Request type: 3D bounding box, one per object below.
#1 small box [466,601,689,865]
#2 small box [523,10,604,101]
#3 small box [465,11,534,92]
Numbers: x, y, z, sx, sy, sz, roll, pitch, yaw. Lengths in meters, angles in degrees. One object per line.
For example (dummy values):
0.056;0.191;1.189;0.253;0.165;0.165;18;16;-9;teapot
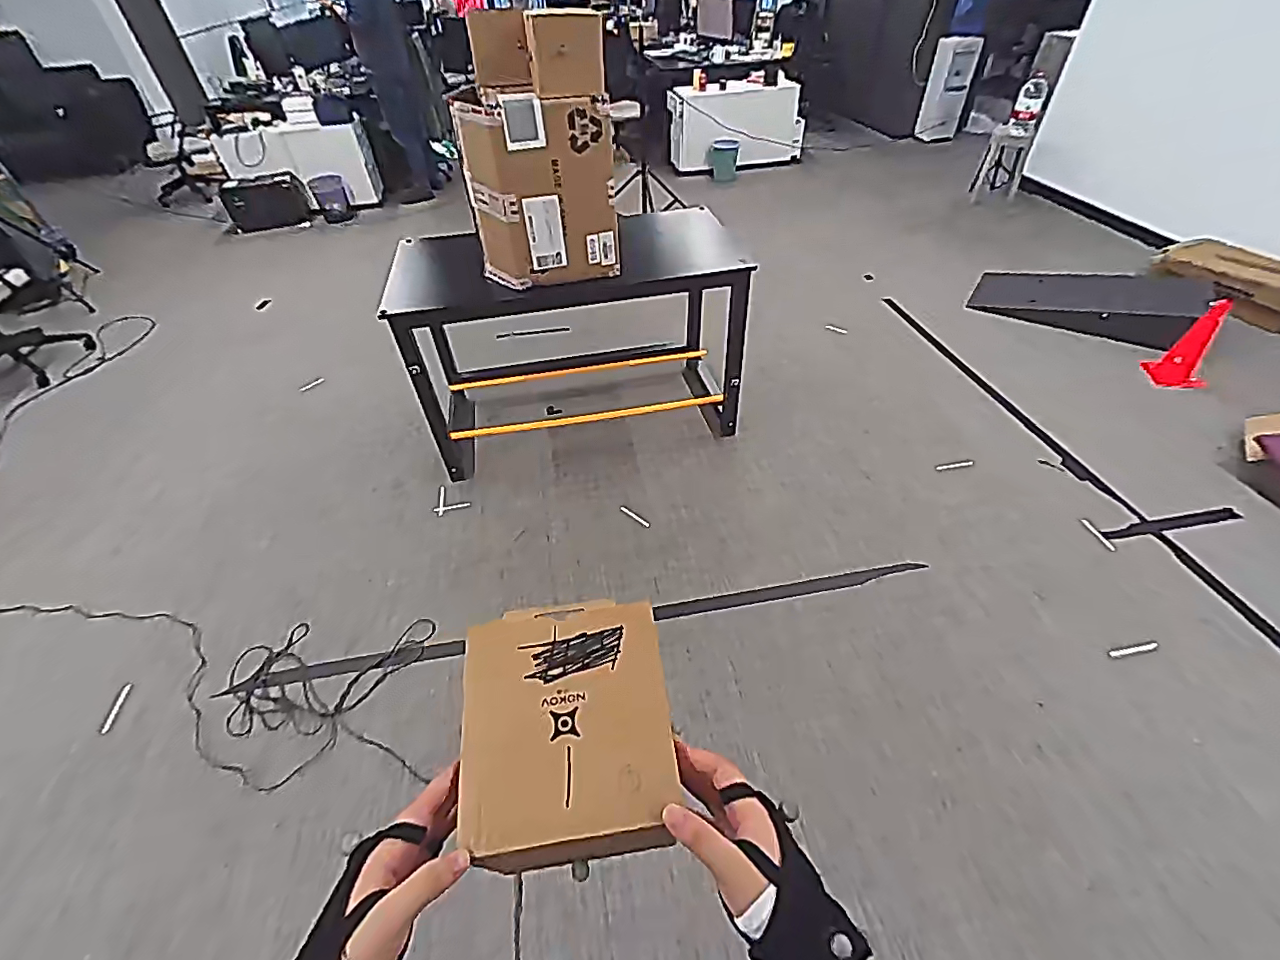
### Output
-0.055;0.237;0.506;0.168;0.176;0.179;-7;52;-5;small box
-0.200;-1.118;1.426;0.179;0.176;0.168;-11;47;-9;small box
-0.394;-1.228;1.547;0.179;0.176;0.168;-11;42;-10;small box
